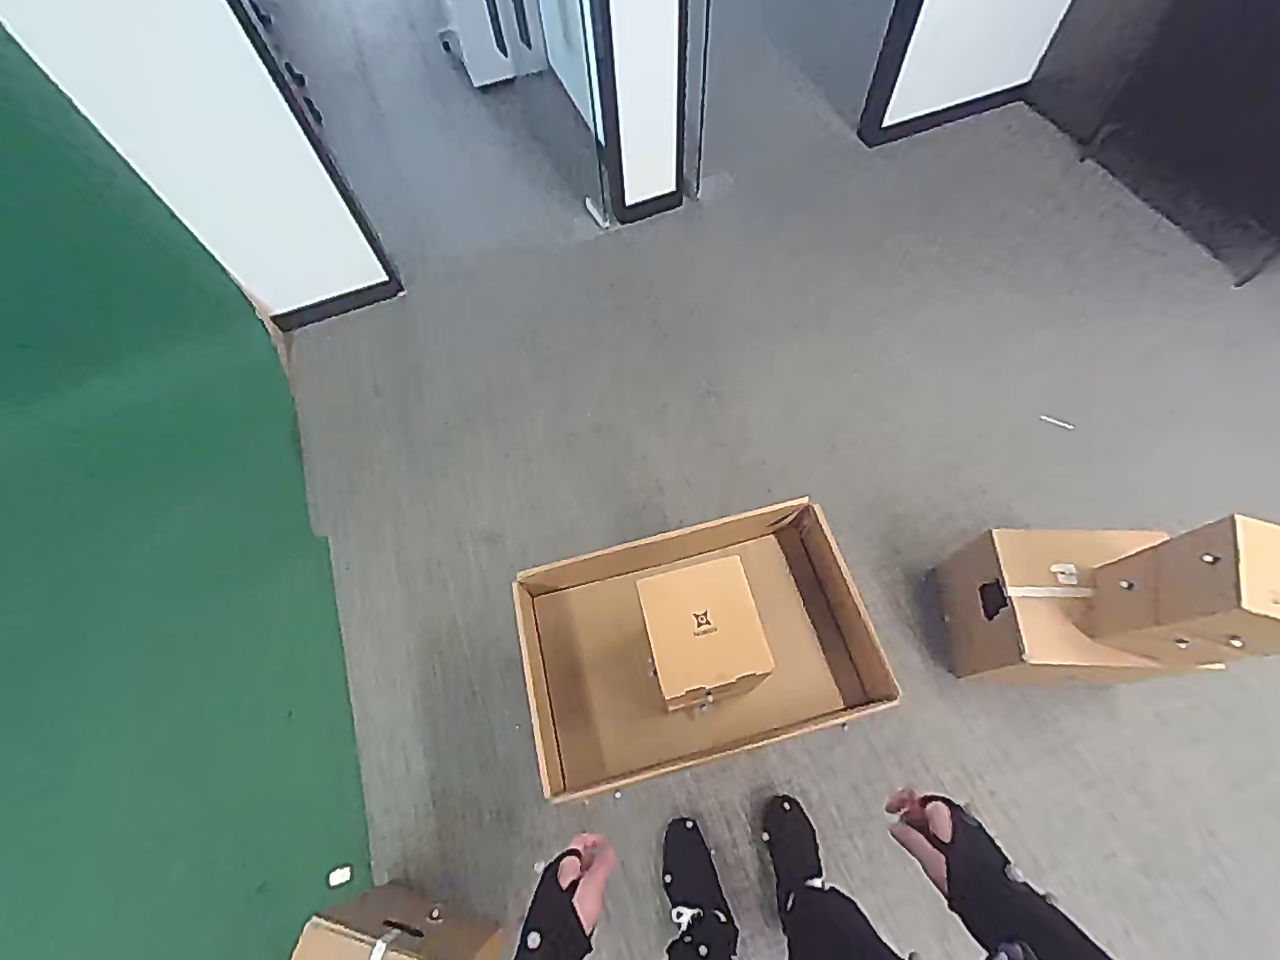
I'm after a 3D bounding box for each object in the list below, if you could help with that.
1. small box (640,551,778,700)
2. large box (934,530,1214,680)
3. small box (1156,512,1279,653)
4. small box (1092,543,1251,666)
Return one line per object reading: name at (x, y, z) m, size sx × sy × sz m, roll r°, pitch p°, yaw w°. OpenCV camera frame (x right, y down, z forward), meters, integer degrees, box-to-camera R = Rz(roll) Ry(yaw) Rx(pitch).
small box at (0.099, 0.236, 0.857) m, size 0.168 × 0.176 × 0.179 m, roll -14°, pitch 64°, yaw -3°
large box at (1.026, 0.322, 1.345) m, size 0.408 × 0.320 × 0.320 m, roll 0°, pitch 63°, yaw 4°
small box at (1.064, 0.185, 0.952) m, size 0.168 × 0.176 × 0.179 m, roll 18°, pitch 67°, yaw 12°
small box at (1.067, 0.257, 1.101) m, size 0.168 × 0.176 × 0.179 m, roll 19°, pitch 67°, yaw 12°
